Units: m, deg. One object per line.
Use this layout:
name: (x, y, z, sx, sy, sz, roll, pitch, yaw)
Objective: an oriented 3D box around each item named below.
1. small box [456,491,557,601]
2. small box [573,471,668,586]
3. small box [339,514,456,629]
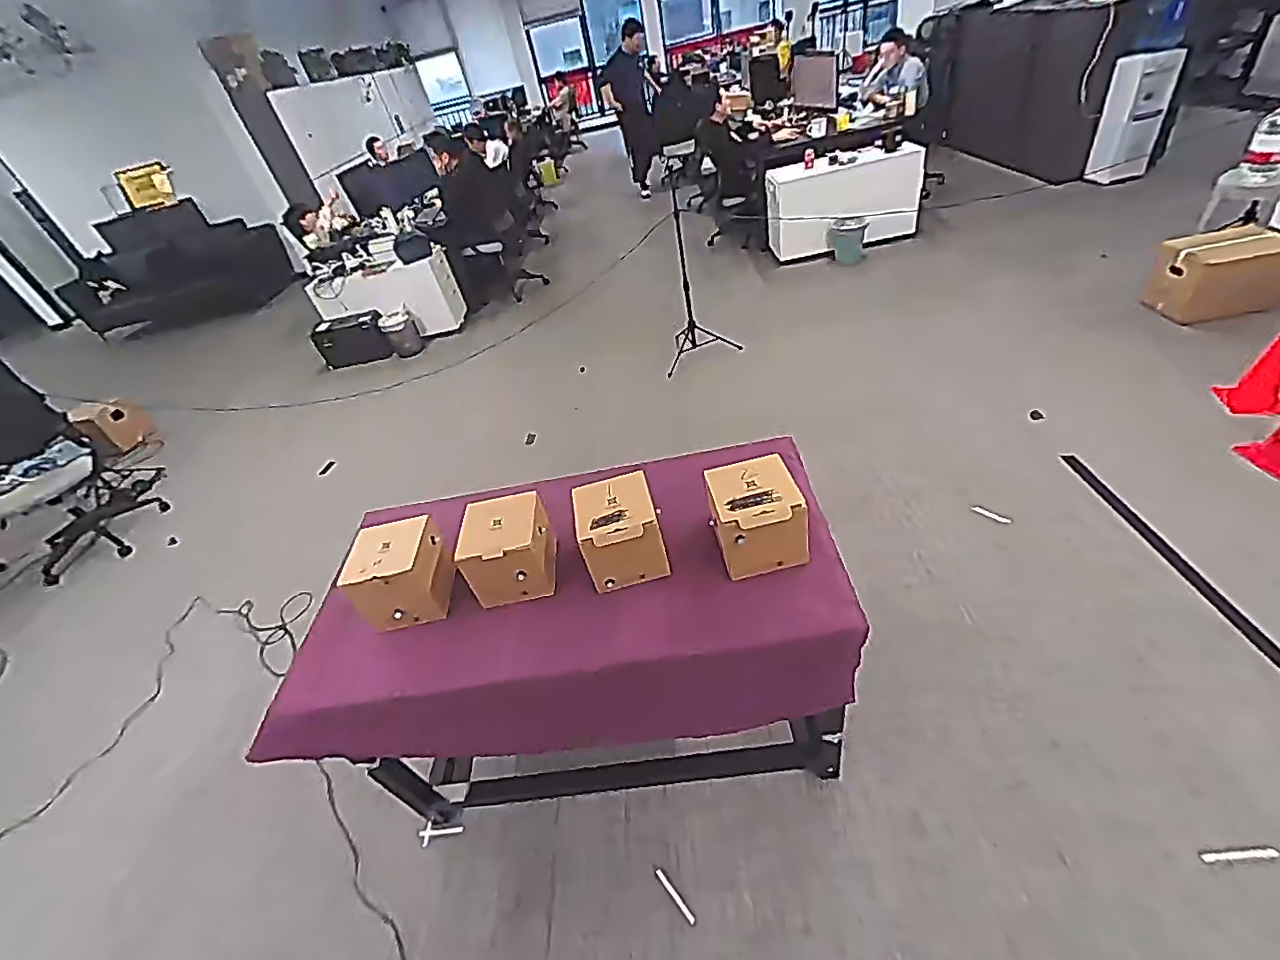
small box: (-0.290, 0.155, 1.218, 0.168, 0.176, 0.179, -11, 39, 4)
small box: (-0.043, 0.114, 1.188, 0.168, 0.176, 0.179, -15, 39, -1)
small box: (-0.535, 0.208, 1.227, 0.168, 0.176, 0.179, -13, 39, 3)
